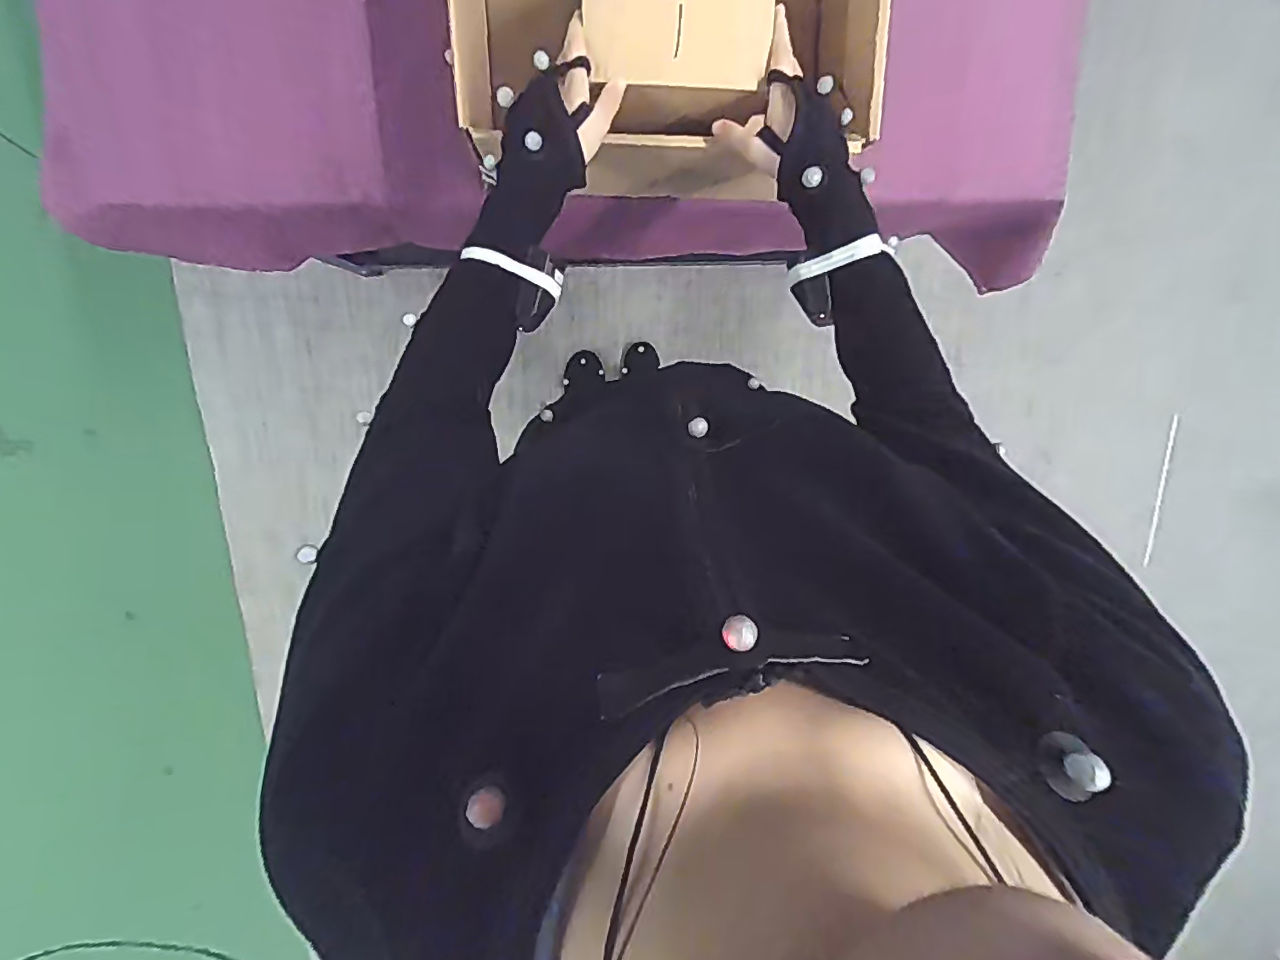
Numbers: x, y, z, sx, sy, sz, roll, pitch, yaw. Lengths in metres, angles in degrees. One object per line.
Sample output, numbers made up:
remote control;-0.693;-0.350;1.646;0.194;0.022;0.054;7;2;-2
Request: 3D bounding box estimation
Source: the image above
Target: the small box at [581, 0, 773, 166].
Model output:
small box;0.025;-0.437;0.532;0.168;0.176;0.179;-1;103;-5
